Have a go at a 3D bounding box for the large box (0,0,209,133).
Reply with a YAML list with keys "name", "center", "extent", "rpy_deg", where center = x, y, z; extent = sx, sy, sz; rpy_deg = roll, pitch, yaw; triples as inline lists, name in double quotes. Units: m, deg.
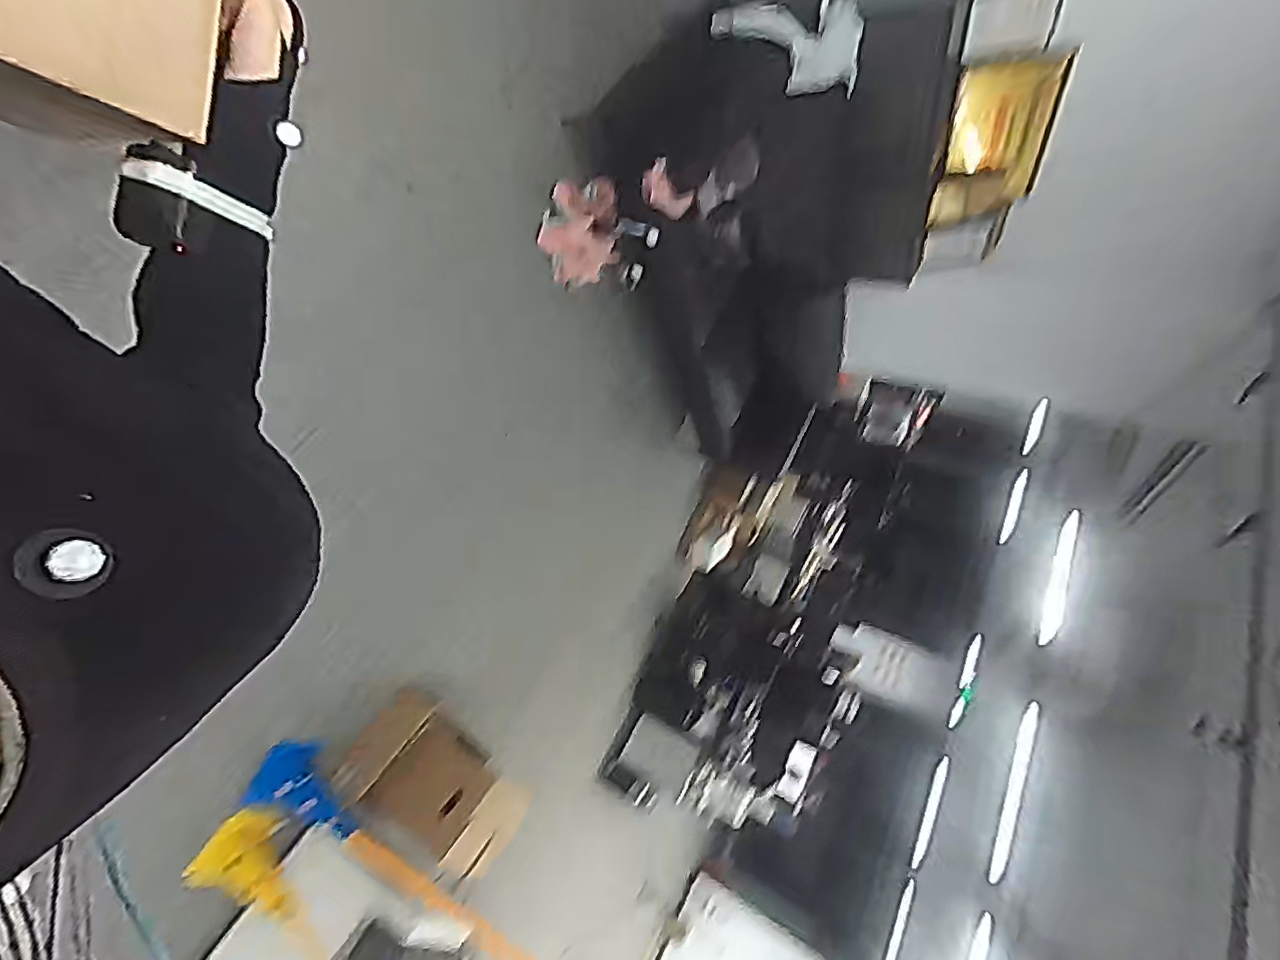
- name: "large box"
  center: [-0.499, -0.424, 0.256]
  extent: [0.408, 0.320, 0.320]
  rpy_deg: [-5, 112, -59]
